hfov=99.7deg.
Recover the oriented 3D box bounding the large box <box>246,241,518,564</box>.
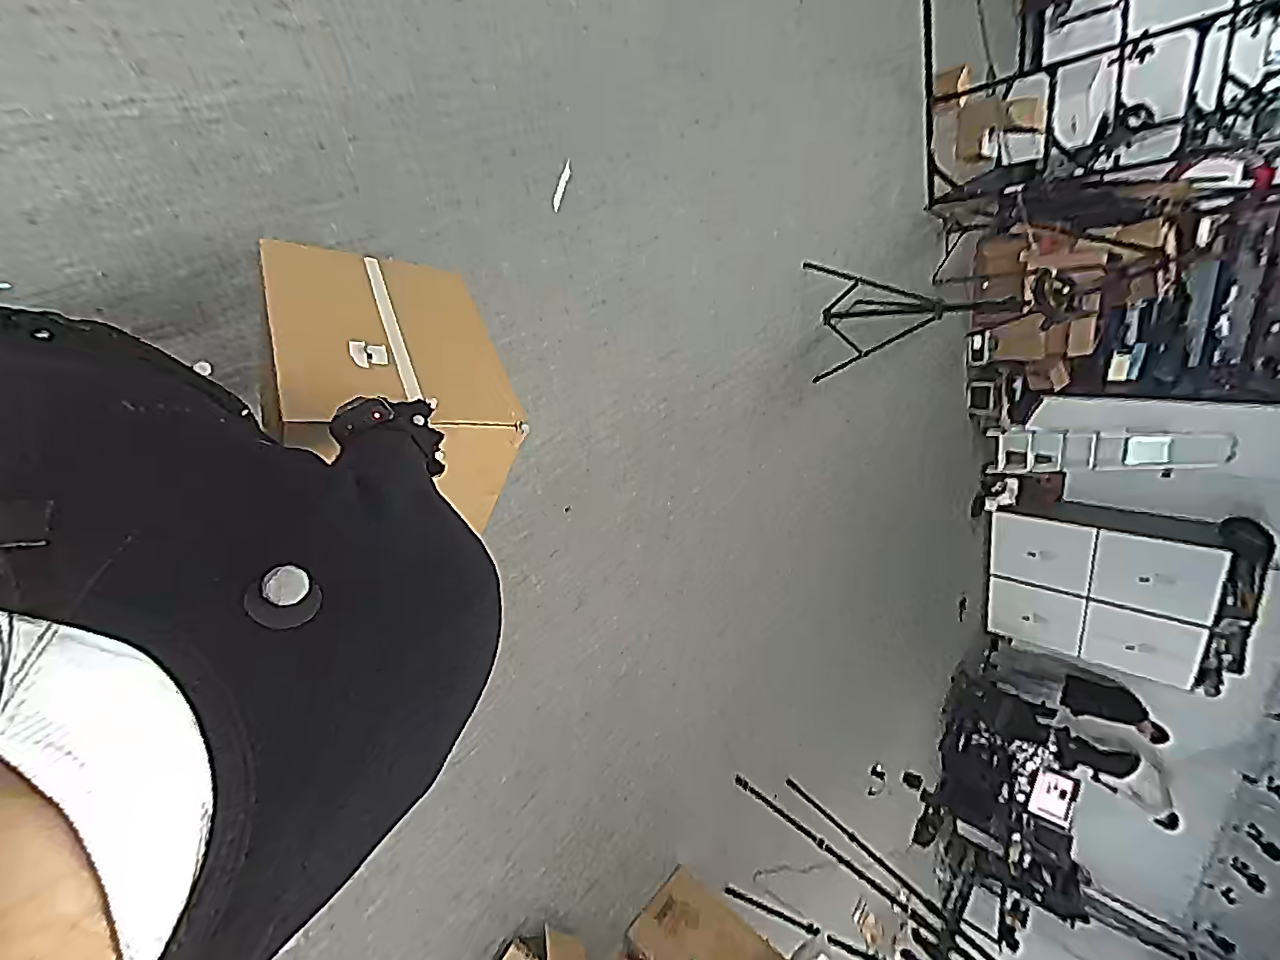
[{"bbox_3d":[-0.452,-0.124,0.907,0.320,0.408,0.320,-5,143,-36],"label":"large box"}]
